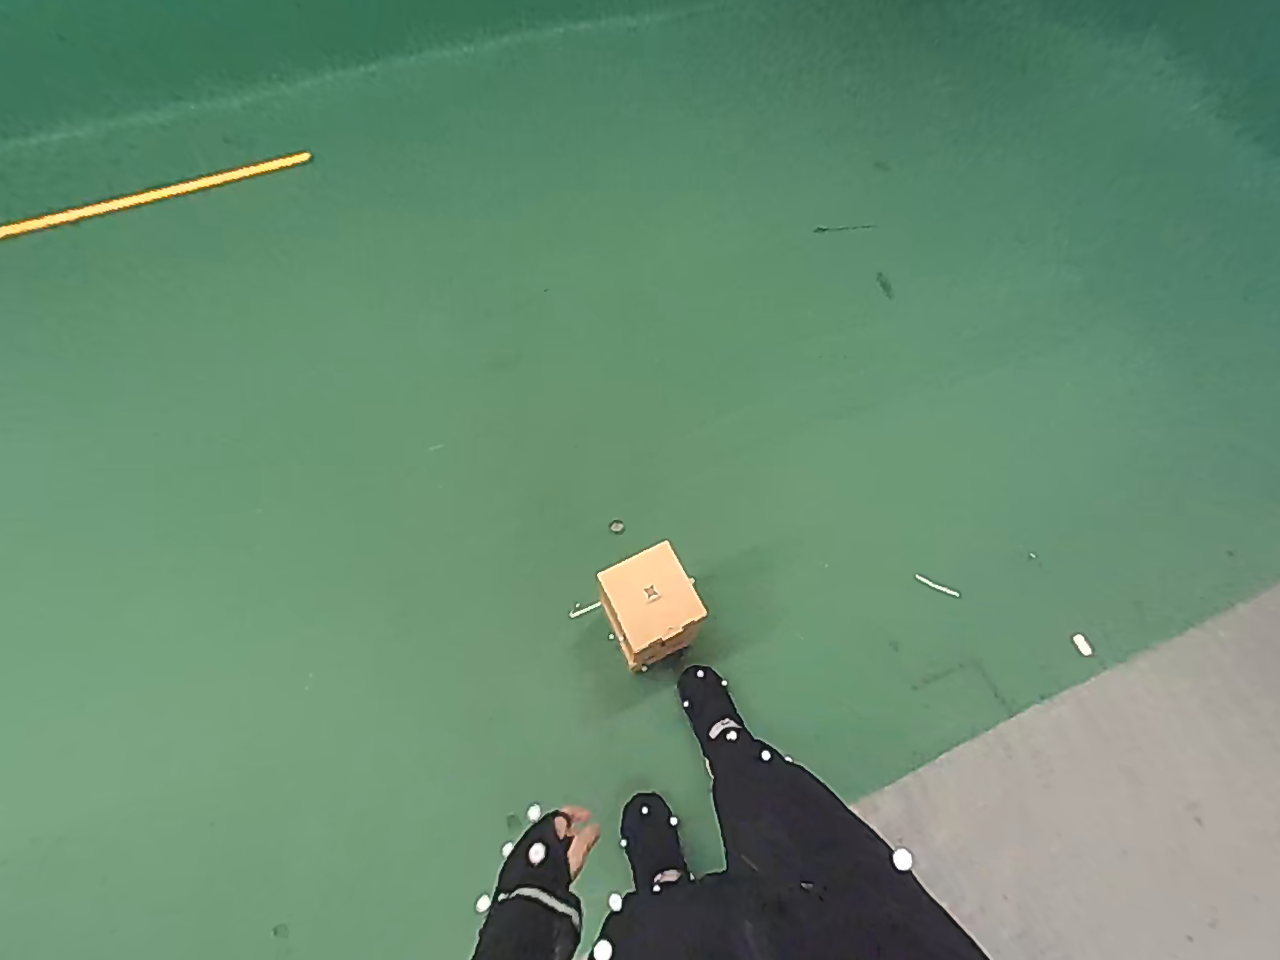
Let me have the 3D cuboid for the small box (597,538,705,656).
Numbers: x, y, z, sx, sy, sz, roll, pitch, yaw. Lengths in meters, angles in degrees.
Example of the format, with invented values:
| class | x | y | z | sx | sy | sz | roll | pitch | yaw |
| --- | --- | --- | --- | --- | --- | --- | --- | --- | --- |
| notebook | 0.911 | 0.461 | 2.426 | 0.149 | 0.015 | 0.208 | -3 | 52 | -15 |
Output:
| class | x | y | z | sx | sy | sz | roll | pitch | yaw |
| --- | --- | --- | --- | --- | --- | --- | --- | --- | --- |
| small box | 0.016 | 0.255 | 1.155 | 0.168 | 0.176 | 0.179 | -24 | 69 | -12 |
